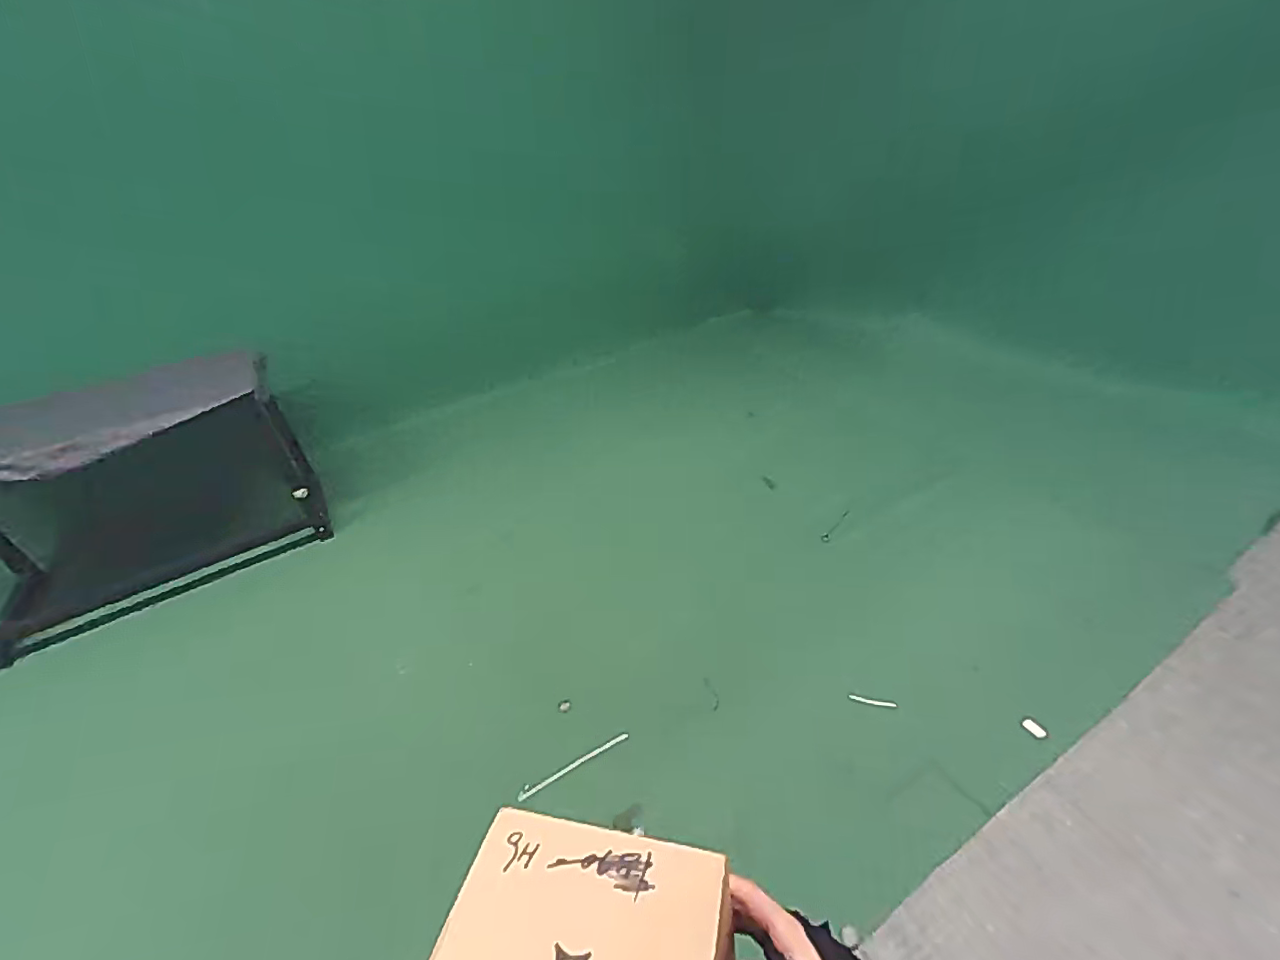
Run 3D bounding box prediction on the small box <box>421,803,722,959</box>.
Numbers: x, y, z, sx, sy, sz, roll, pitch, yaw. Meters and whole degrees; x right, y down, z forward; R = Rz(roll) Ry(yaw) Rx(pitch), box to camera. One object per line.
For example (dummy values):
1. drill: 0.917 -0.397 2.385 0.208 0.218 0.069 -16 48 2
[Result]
1. small box: -0.040 0.352 0.347 0.168 0.176 0.179 2 33 16
